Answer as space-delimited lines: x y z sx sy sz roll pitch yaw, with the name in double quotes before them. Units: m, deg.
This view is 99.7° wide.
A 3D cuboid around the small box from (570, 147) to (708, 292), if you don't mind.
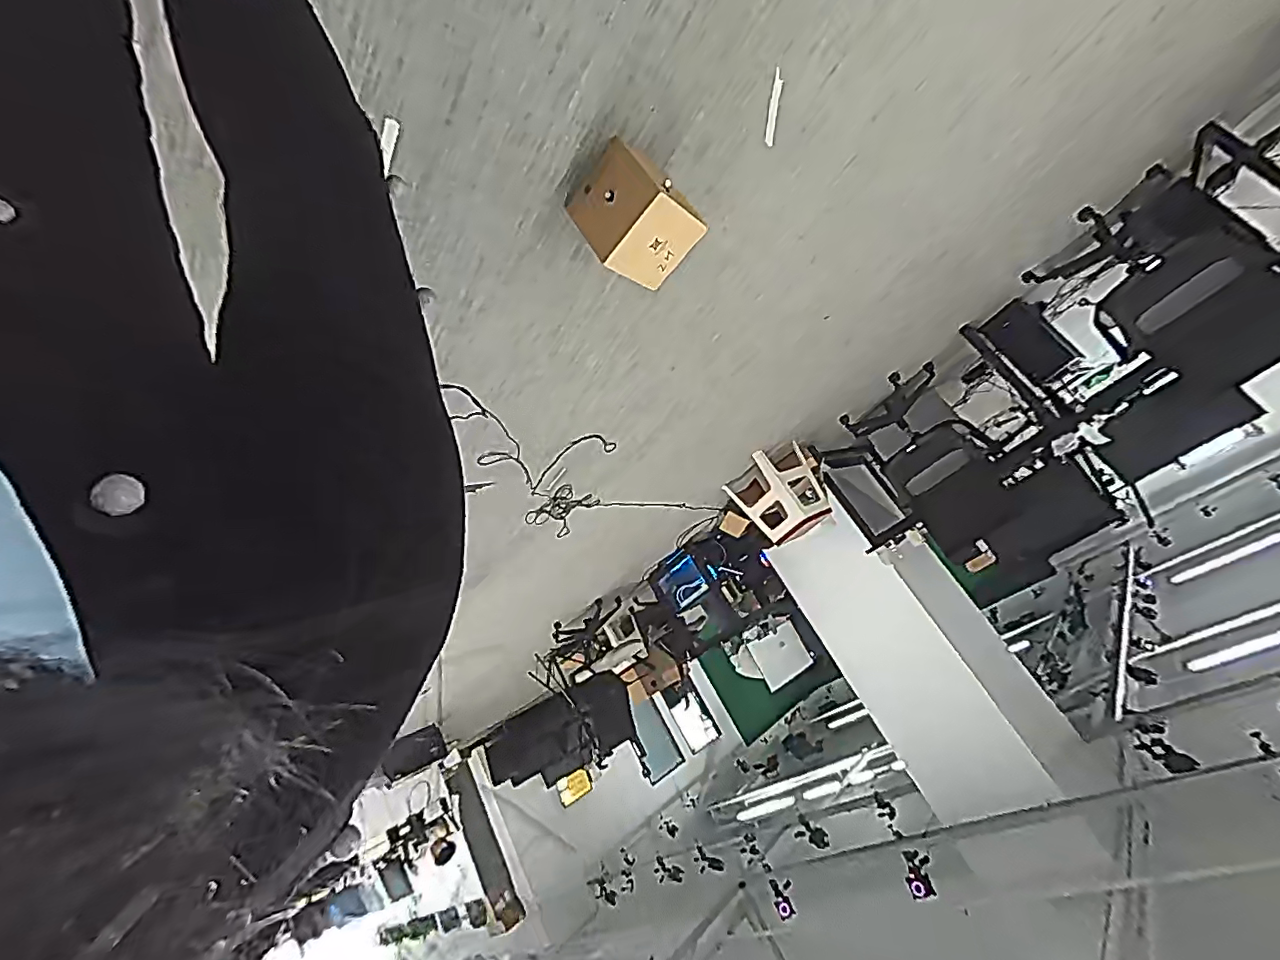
"small box" -0.006 -0.511 1.064 0.168 0.176 0.179 -42 157 28
